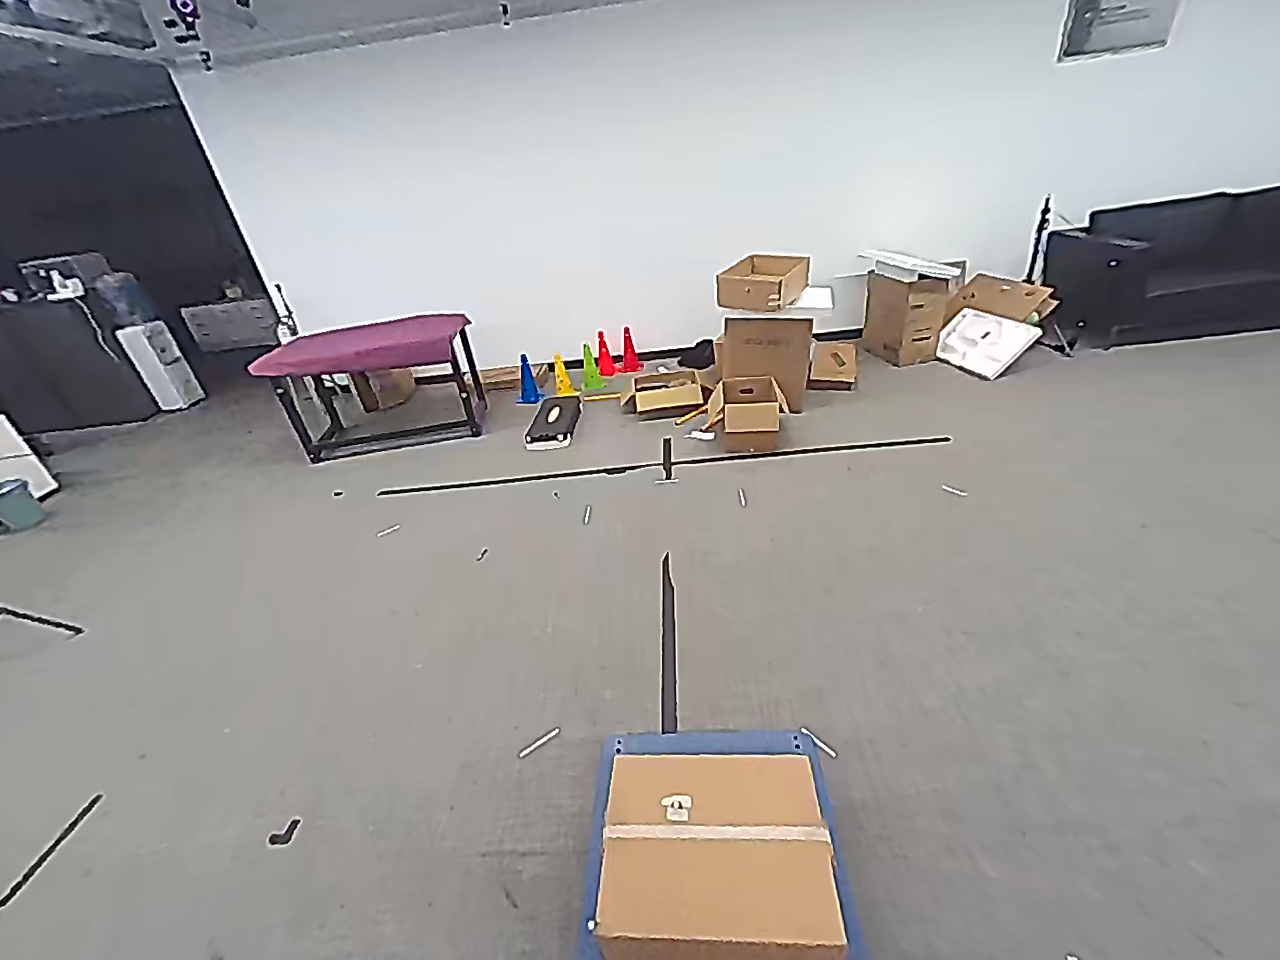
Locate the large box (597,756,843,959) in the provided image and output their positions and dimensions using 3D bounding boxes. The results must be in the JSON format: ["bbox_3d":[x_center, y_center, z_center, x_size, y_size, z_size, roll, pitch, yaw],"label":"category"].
[{"bbox_3d":[0.155,0.788,1.074,0.408,0.320,0.320,-5,29,7],"label":"large box"}]
